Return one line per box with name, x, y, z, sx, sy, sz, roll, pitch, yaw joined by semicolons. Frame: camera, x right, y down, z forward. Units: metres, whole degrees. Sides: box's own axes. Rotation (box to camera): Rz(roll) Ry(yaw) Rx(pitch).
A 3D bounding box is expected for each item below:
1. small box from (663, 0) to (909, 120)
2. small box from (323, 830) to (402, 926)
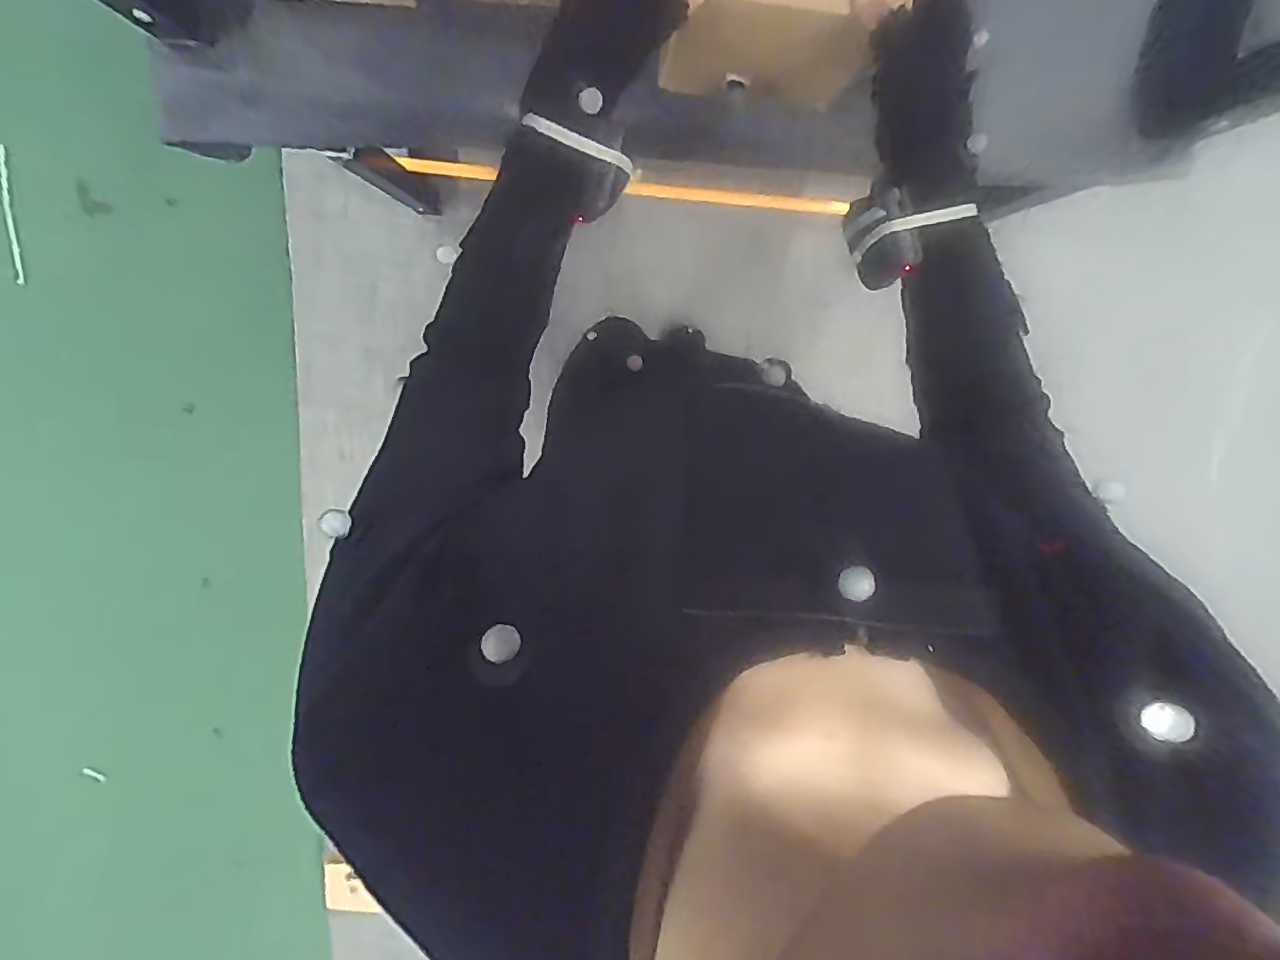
small box;0.111;-0.427;0.434;0.168;0.176;0.179;4;106;-3
small box;-0.849;1.218;1.665;0.168;0.176;0.179;7;104;-2
